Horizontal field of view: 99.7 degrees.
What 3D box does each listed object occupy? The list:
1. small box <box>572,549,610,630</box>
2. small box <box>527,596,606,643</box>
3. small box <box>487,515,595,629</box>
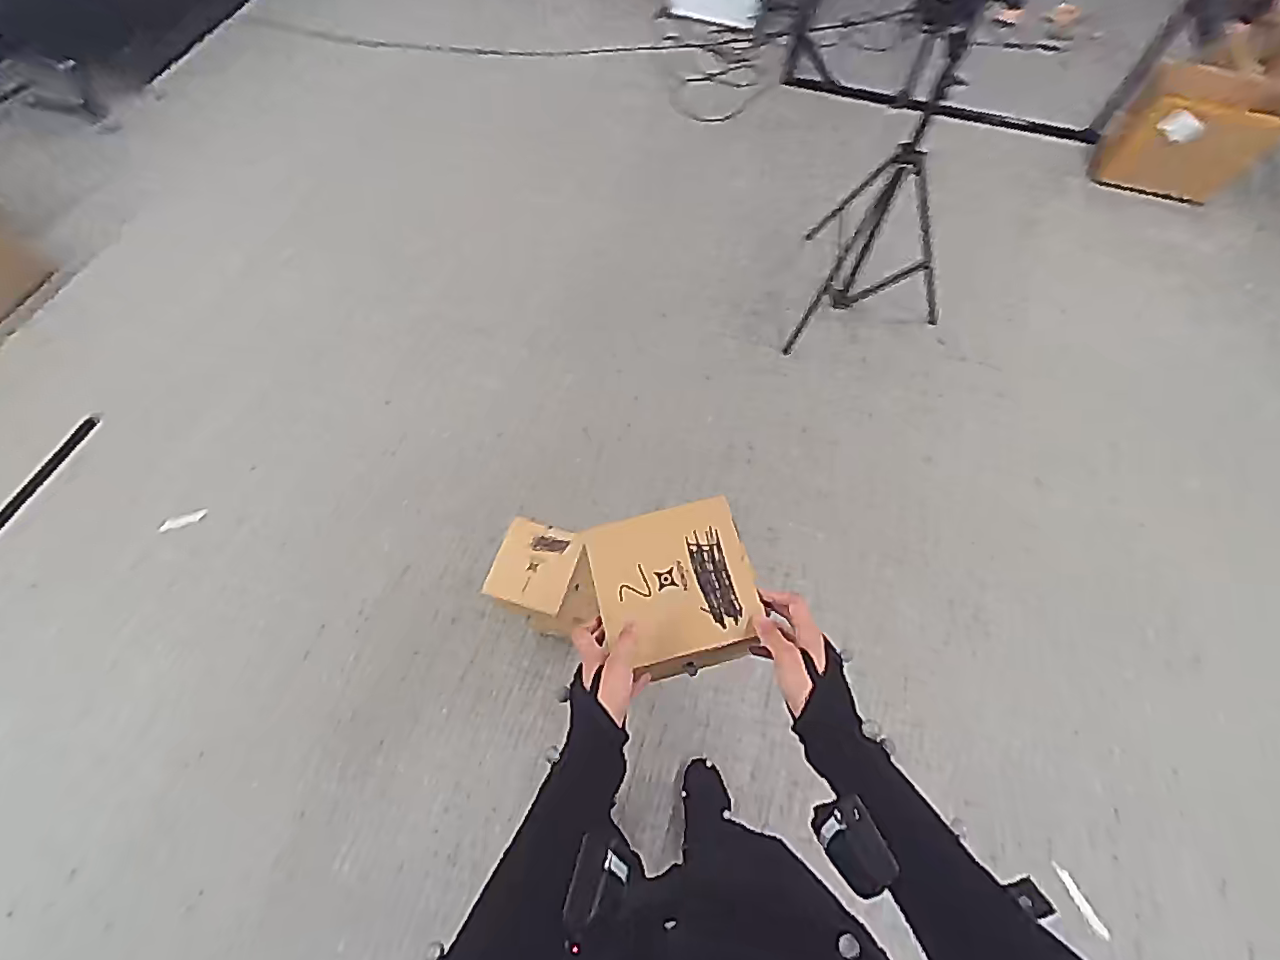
[{"bbox_3d":[-0.179,0.259,1.327,0.179,0.176,0.168,12,65,7],"label":"small box"},{"bbox_3d":[-0.192,0.329,1.475,0.168,0.176,0.179,13,66,7],"label":"small box"},{"bbox_3d":[-0.203,0.204,1.171,0.168,0.176,0.179,16,66,9],"label":"small box"}]
